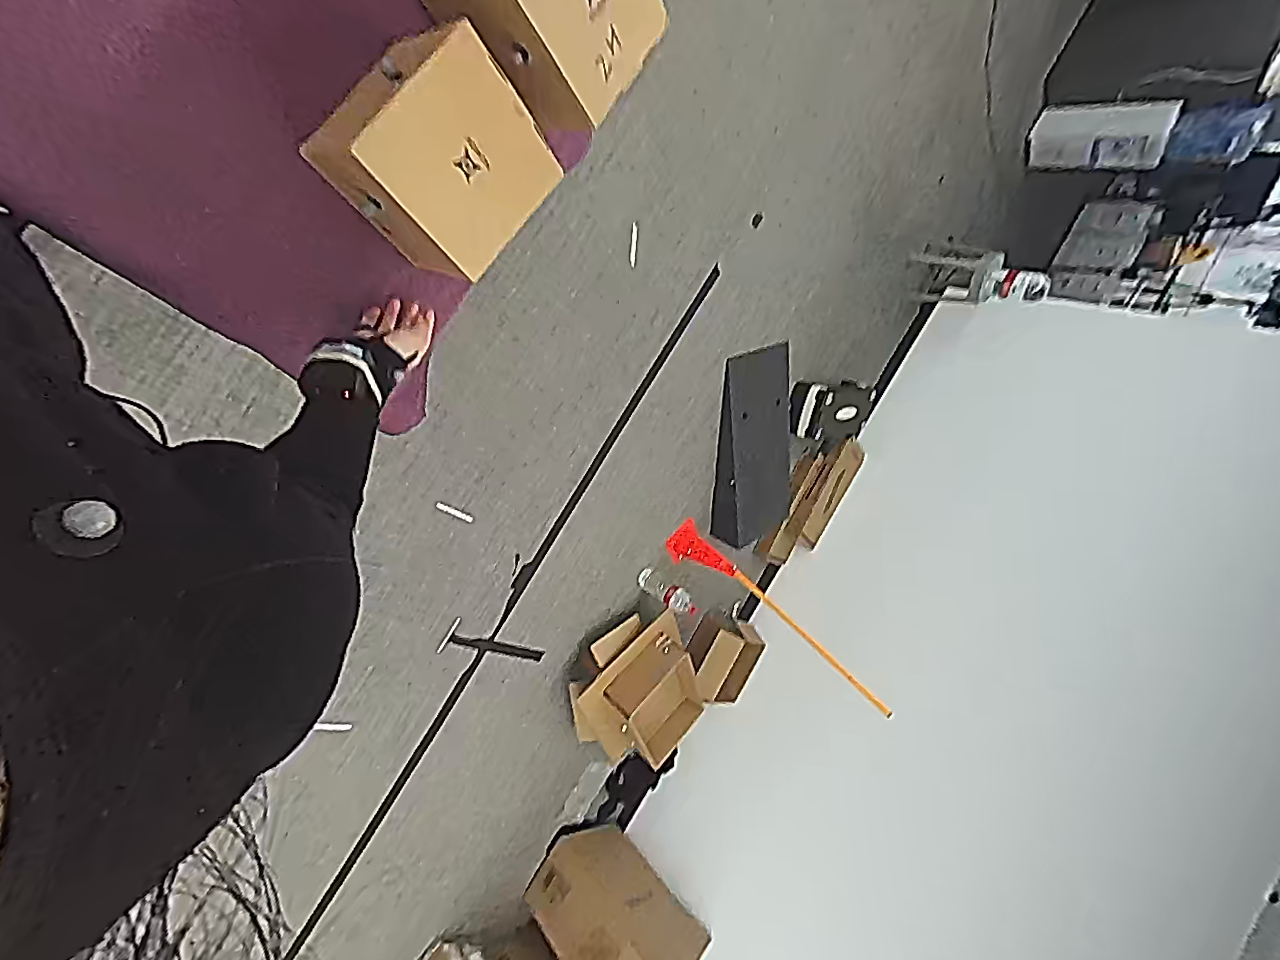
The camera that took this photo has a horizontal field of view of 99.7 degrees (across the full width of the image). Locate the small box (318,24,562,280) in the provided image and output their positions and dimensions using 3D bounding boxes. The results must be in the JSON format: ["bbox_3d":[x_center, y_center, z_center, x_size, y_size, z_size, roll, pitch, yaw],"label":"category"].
[{"bbox_3d":[-0.230,-0.358,0.614,0.179,0.176,0.168,-55,140,-9],"label":"small box"}]

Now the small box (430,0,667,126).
[{"bbox_3d":[-0.107,-0.544,0.628,0.168,0.176,0.179,-56,142,-5],"label":"small box"}]
